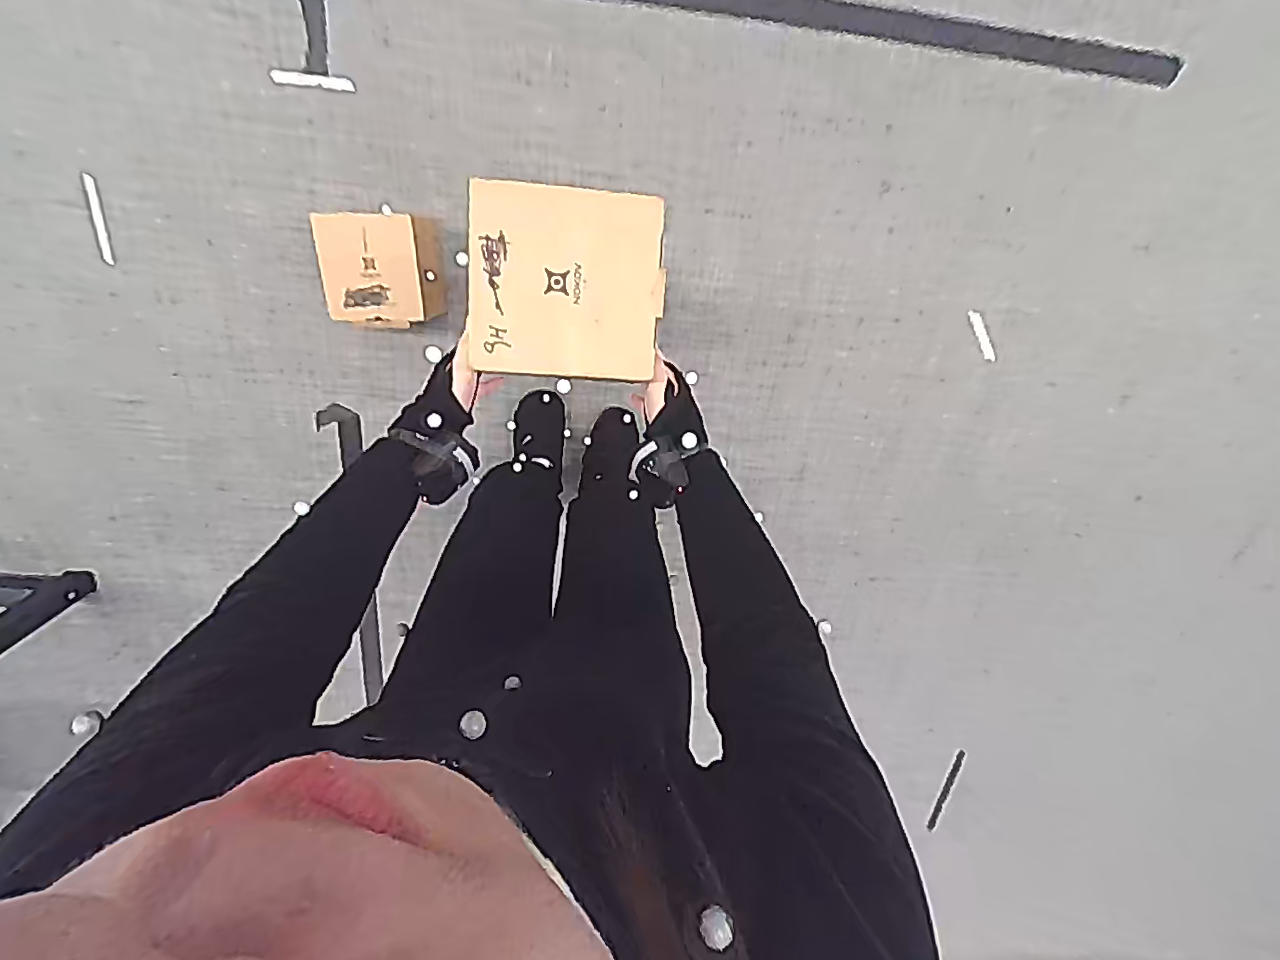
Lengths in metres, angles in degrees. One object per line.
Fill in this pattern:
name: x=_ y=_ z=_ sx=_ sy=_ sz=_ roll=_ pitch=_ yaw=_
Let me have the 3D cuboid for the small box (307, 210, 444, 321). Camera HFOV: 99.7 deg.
small box: x=-0.473 y=-0.396 z=0.999 sx=0.168 sy=0.176 sz=0.179 roll=-1 pitch=113 yaw=-5

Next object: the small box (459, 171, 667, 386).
small box: x=-0.079 y=-0.186 z=0.551 sx=0.179 sy=0.176 sz=0.168 roll=3 pitch=99 yaw=-9
